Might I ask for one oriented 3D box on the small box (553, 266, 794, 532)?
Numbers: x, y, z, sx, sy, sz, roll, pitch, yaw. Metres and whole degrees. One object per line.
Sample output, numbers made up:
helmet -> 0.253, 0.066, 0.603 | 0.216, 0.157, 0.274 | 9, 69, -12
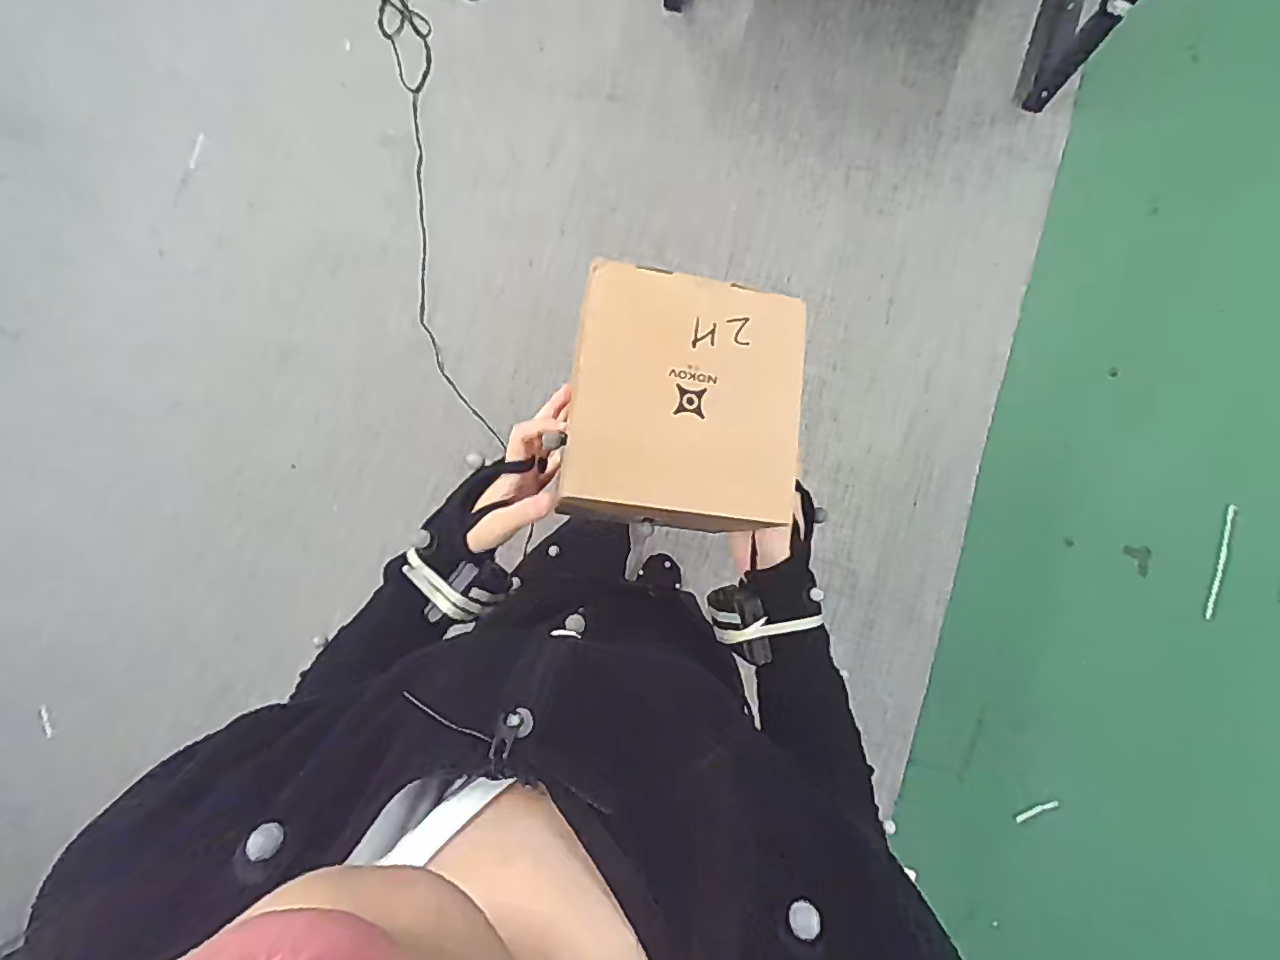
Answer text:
small box -> 0.016, -0.051, 0.473 | 0.168, 0.176, 0.179 | 8, 80, -10
